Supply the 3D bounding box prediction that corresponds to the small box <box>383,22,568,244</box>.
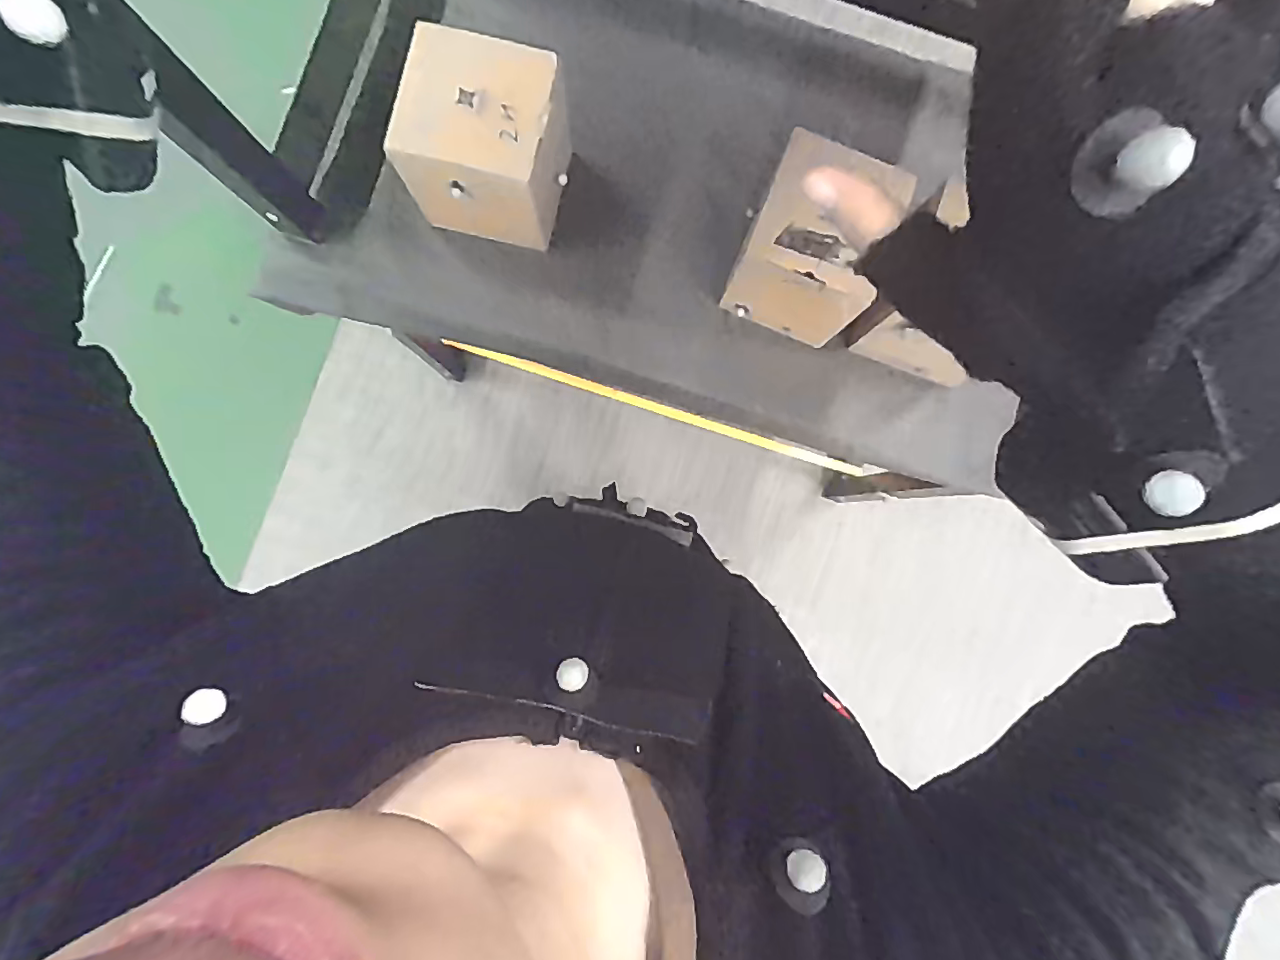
[{"bbox_3d":[-0.202,-0.441,0.716,0.179,0.176,0.168,13,86,-2],"label":"small box"}]
